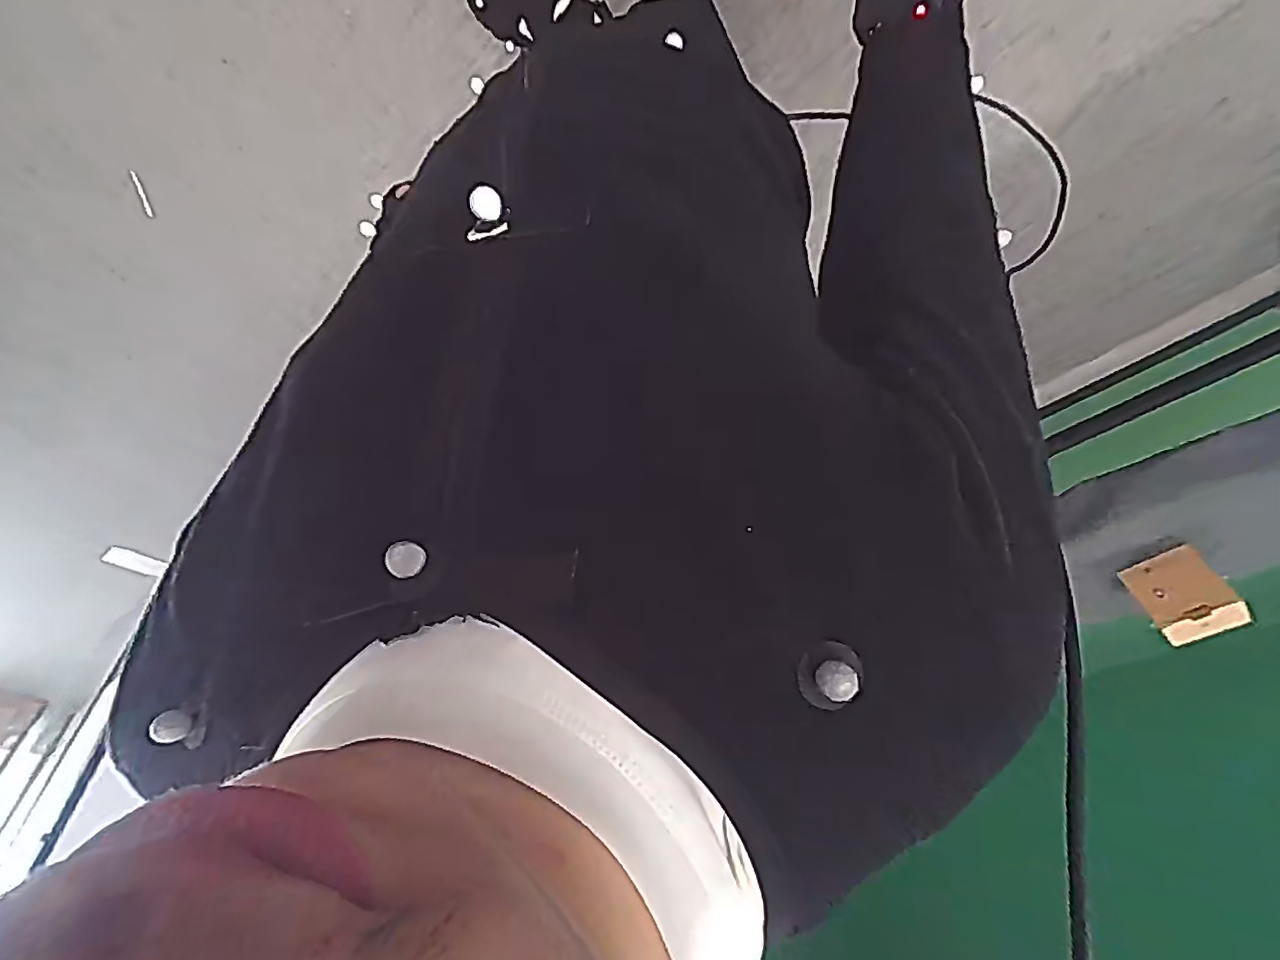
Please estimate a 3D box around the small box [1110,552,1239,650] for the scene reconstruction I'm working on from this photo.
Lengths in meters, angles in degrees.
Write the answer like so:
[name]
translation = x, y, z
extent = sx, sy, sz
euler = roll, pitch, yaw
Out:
[small box]
translation = 1.366, 0.308, 1.391
extent = 0.179, 0.176, 0.168
euler = 30, 127, -33
